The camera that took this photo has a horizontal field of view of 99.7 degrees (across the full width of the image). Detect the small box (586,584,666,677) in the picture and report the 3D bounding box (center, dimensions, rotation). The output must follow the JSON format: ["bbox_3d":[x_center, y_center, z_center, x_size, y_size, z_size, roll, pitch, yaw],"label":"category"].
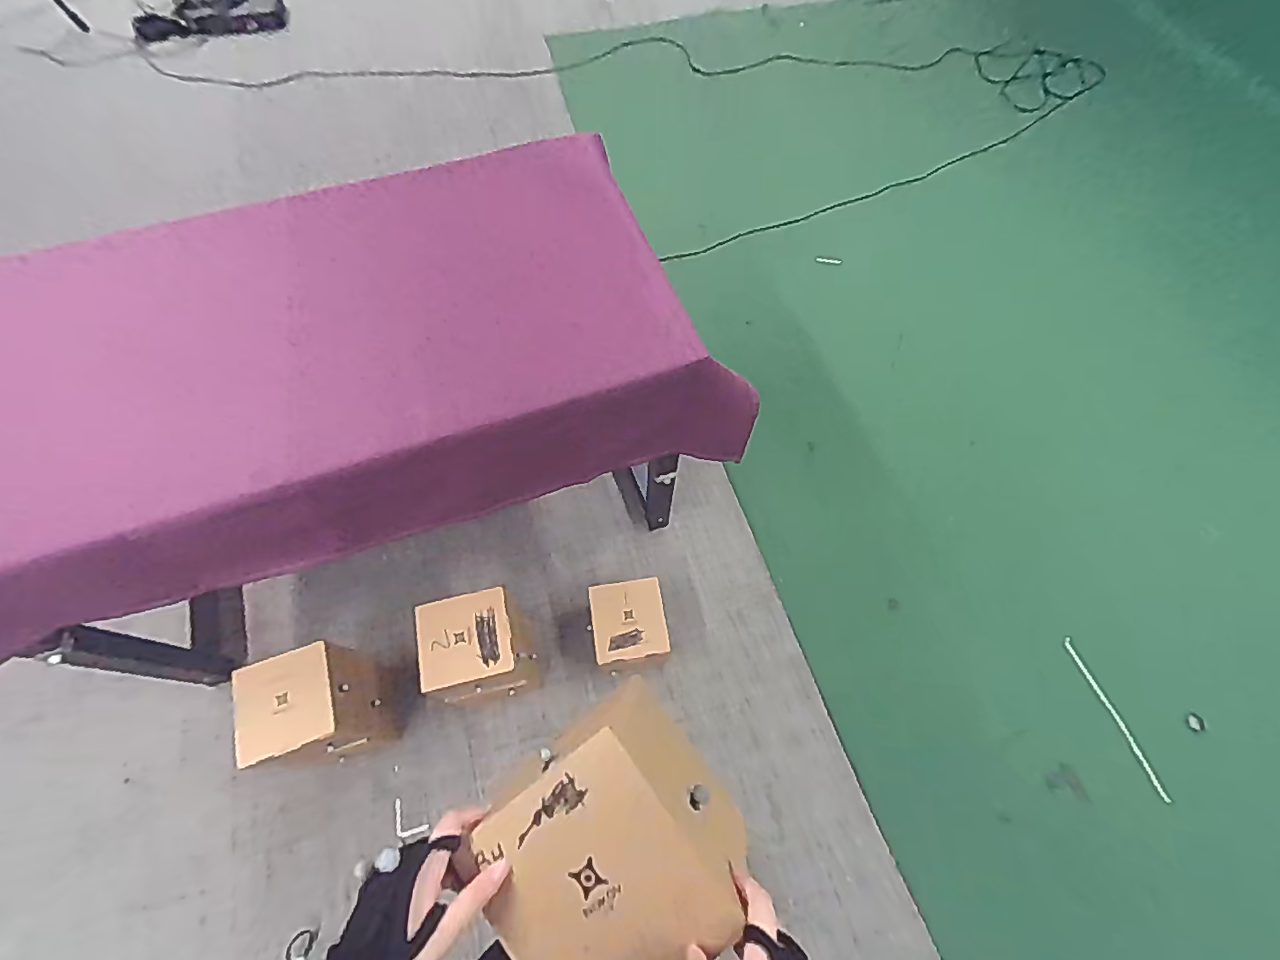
[{"bbox_3d":[-0.033,0.366,1.290,0.168,0.176,0.179,-7,63,-5],"label":"small box"}]

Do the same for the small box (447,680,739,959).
[{"bbox_3d":[-0.029,0.315,0.491,0.168,0.176,0.179,-38,80,1],"label":"small box"}]
